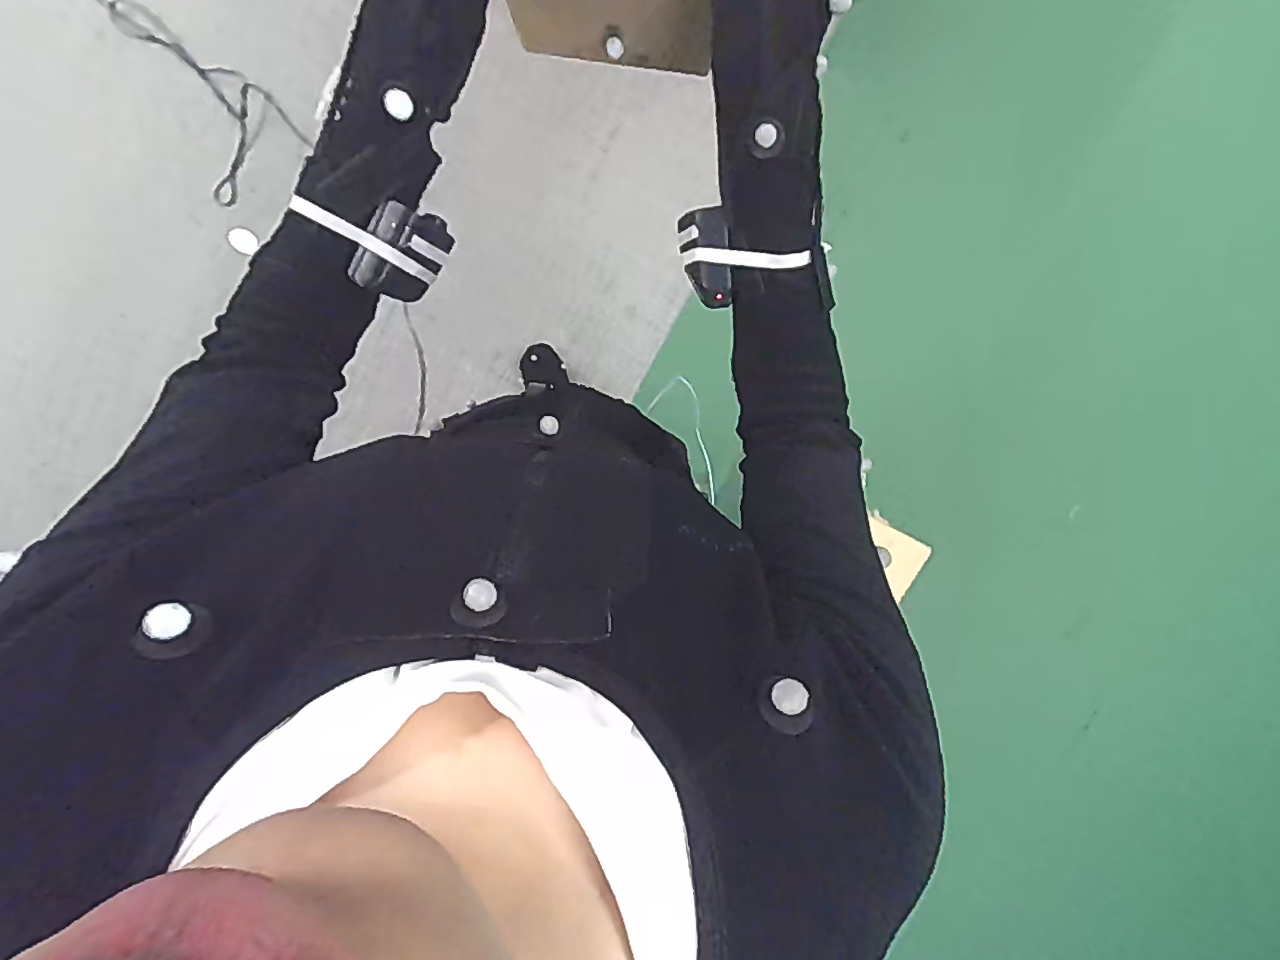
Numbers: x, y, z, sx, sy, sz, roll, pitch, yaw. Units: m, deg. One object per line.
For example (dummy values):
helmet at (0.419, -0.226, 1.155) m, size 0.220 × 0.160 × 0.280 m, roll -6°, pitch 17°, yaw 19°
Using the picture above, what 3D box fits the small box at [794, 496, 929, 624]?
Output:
small box at (0.437, 0.155, 1.105) m, size 0.168 × 0.176 × 0.179 m, roll 28°, pitch 99°, yaw -6°

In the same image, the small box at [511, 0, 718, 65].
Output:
small box at (-0.016, -0.435, 0.374) m, size 0.168 × 0.176 × 0.179 m, roll 5°, pitch 107°, yaw -3°
